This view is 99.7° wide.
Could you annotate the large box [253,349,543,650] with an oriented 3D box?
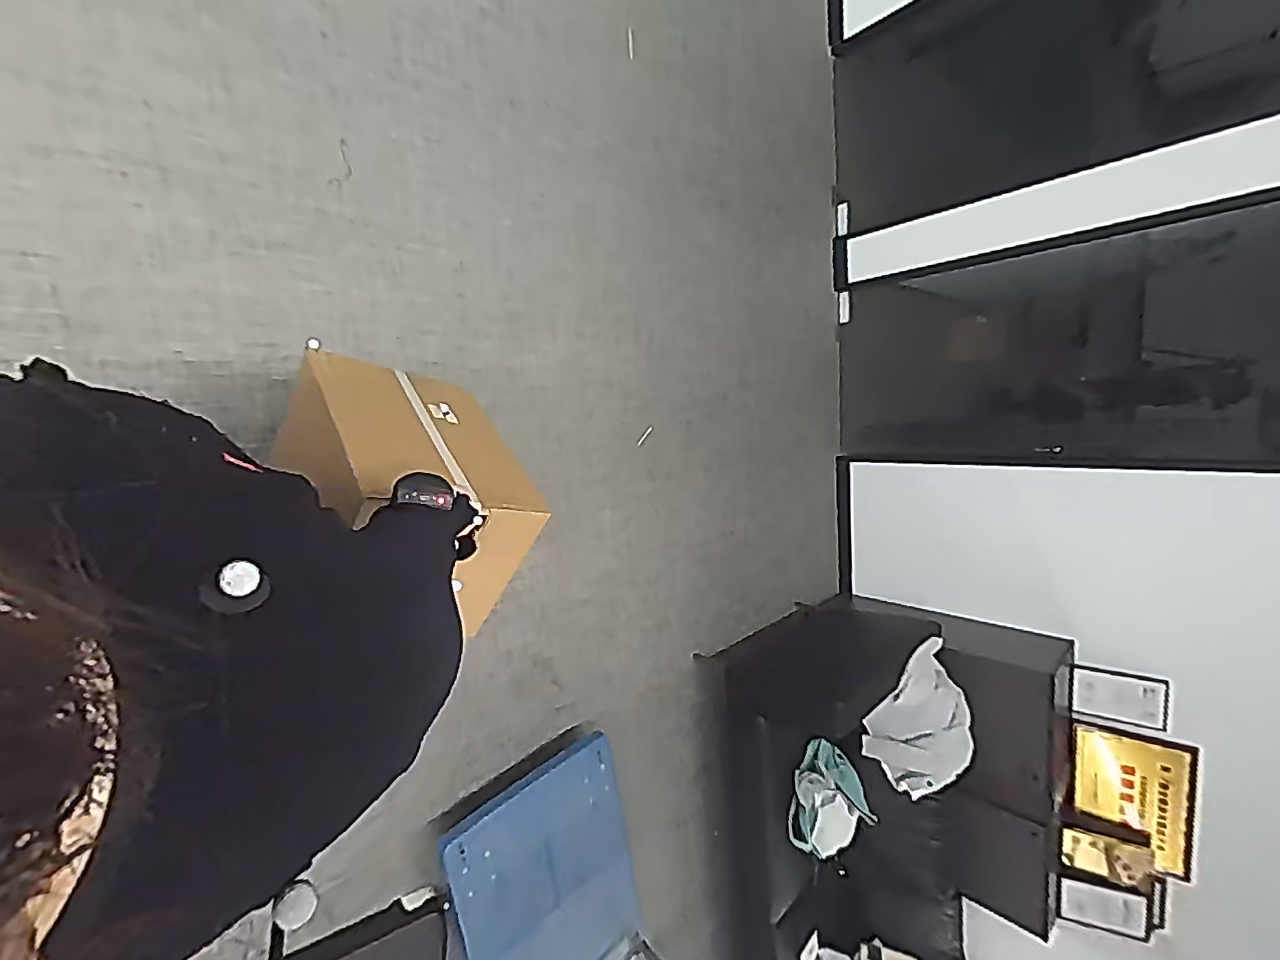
[{"bbox_3d":[-0.446,0.031,0.963,0.320,0.408,0.320,10,121,-49],"label":"large box"}]
